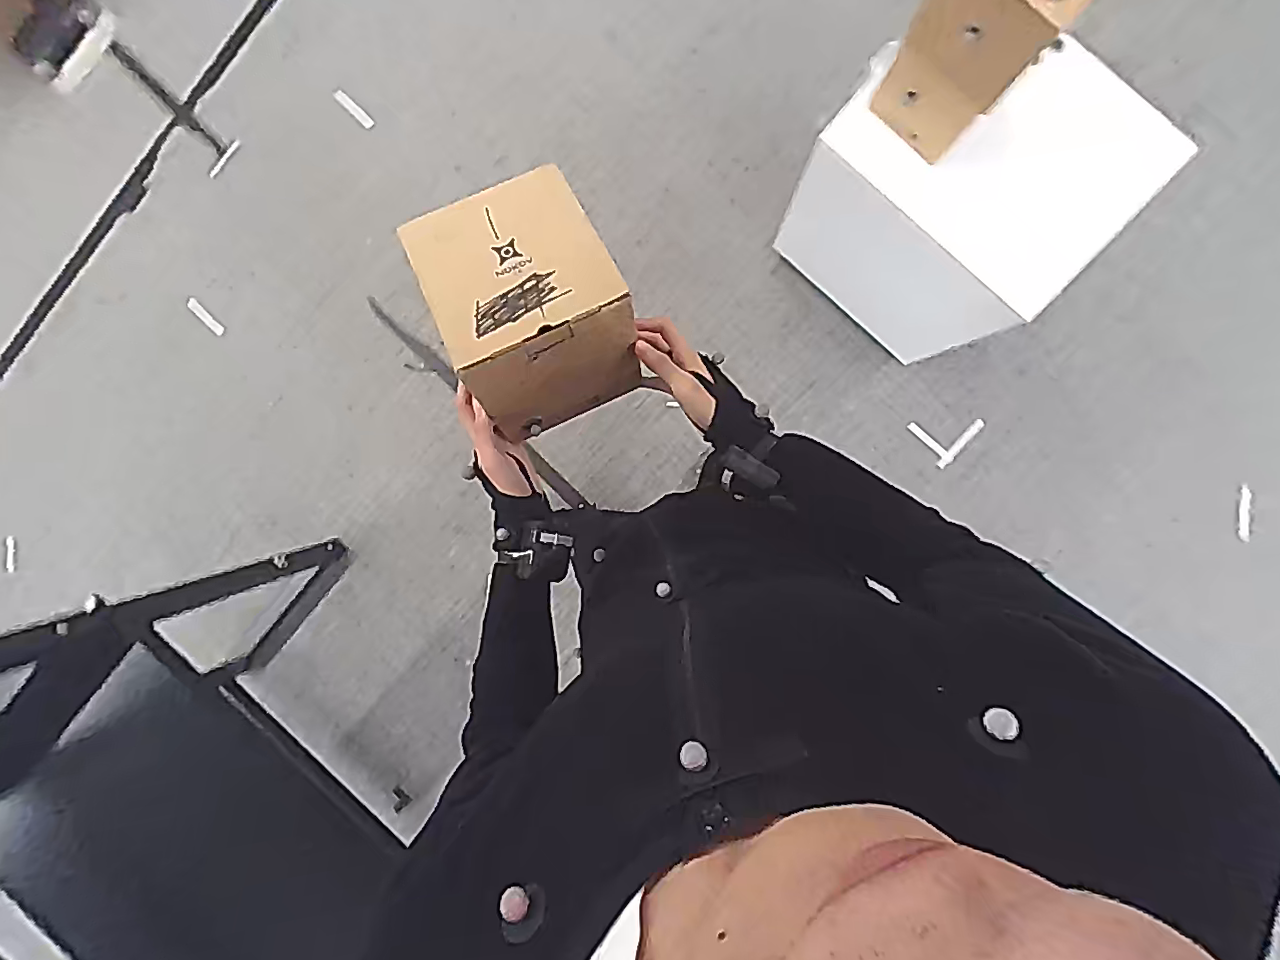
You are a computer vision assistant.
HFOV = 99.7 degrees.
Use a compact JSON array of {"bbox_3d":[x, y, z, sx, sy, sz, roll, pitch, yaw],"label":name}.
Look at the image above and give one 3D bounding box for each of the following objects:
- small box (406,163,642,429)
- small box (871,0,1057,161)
[{"bbox_3d":[-0.105,-0.172,0.560,0.168,0.176,0.179,-25,72,-5],"label":"small box"},{"bbox_3d":[0.508,-0.675,0.886,0.168,0.176,0.179,43,95,0],"label":"small box"}]
